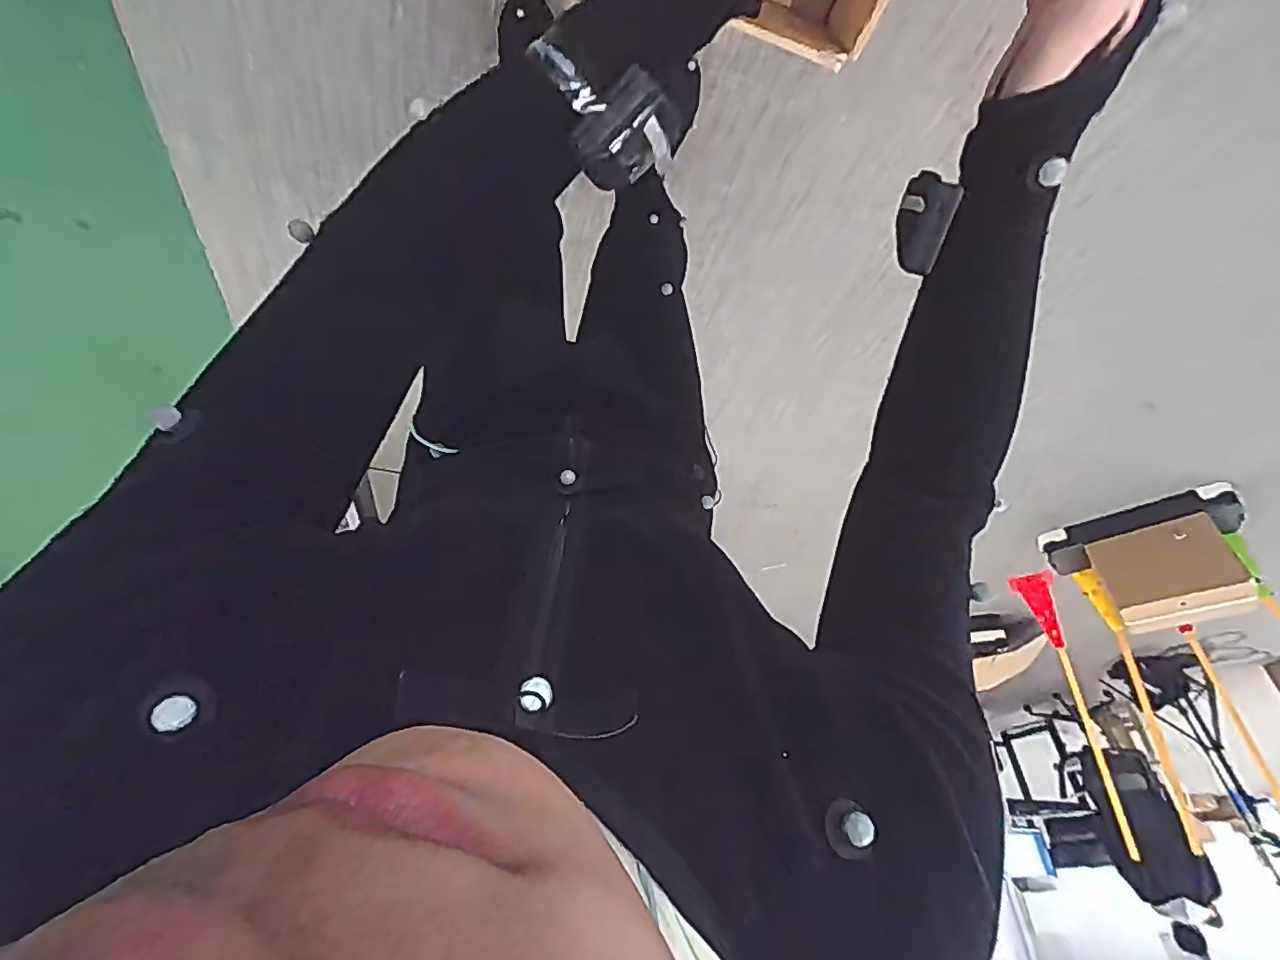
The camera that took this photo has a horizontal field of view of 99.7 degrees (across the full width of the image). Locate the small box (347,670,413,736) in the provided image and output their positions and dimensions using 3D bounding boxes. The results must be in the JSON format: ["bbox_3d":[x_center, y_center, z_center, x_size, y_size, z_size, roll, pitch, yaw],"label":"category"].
[{"bbox_3d":[-0.892,0.772,1.871,0.168,0.176,0.179,11,142,-15],"label":"small box"}]

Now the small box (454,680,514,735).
[{"bbox_3d":[-0.559,0.829,1.942,0.179,0.176,0.168,8,142,-9],"label":"small box"}]
